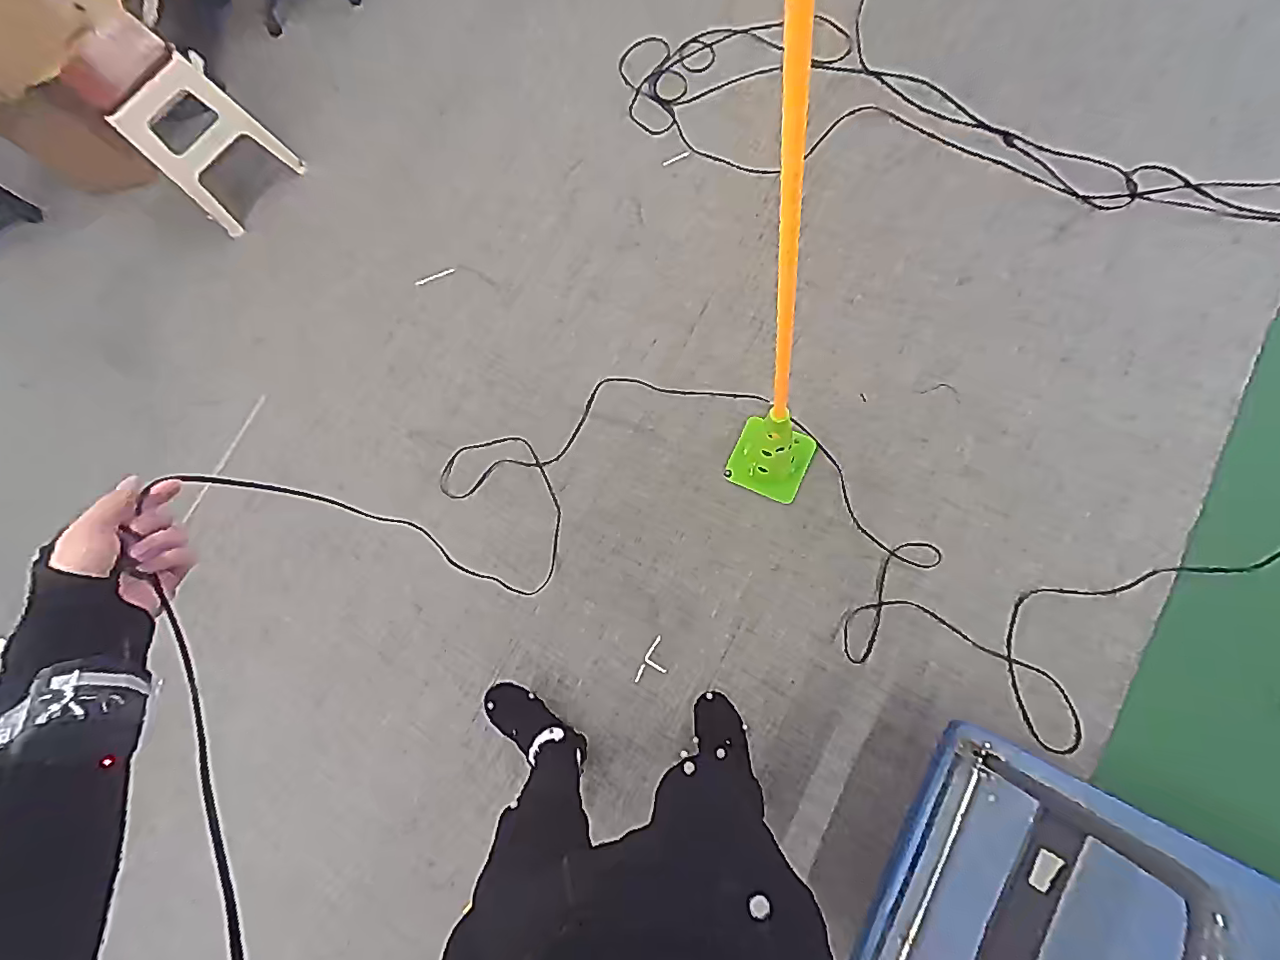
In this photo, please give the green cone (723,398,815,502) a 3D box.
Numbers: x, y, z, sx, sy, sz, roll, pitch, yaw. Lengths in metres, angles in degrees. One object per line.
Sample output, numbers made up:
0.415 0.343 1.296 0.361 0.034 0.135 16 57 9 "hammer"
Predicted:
0.324 -0.103 1.298 0.200 0.368 0.202 23 80 14 "green cone"
